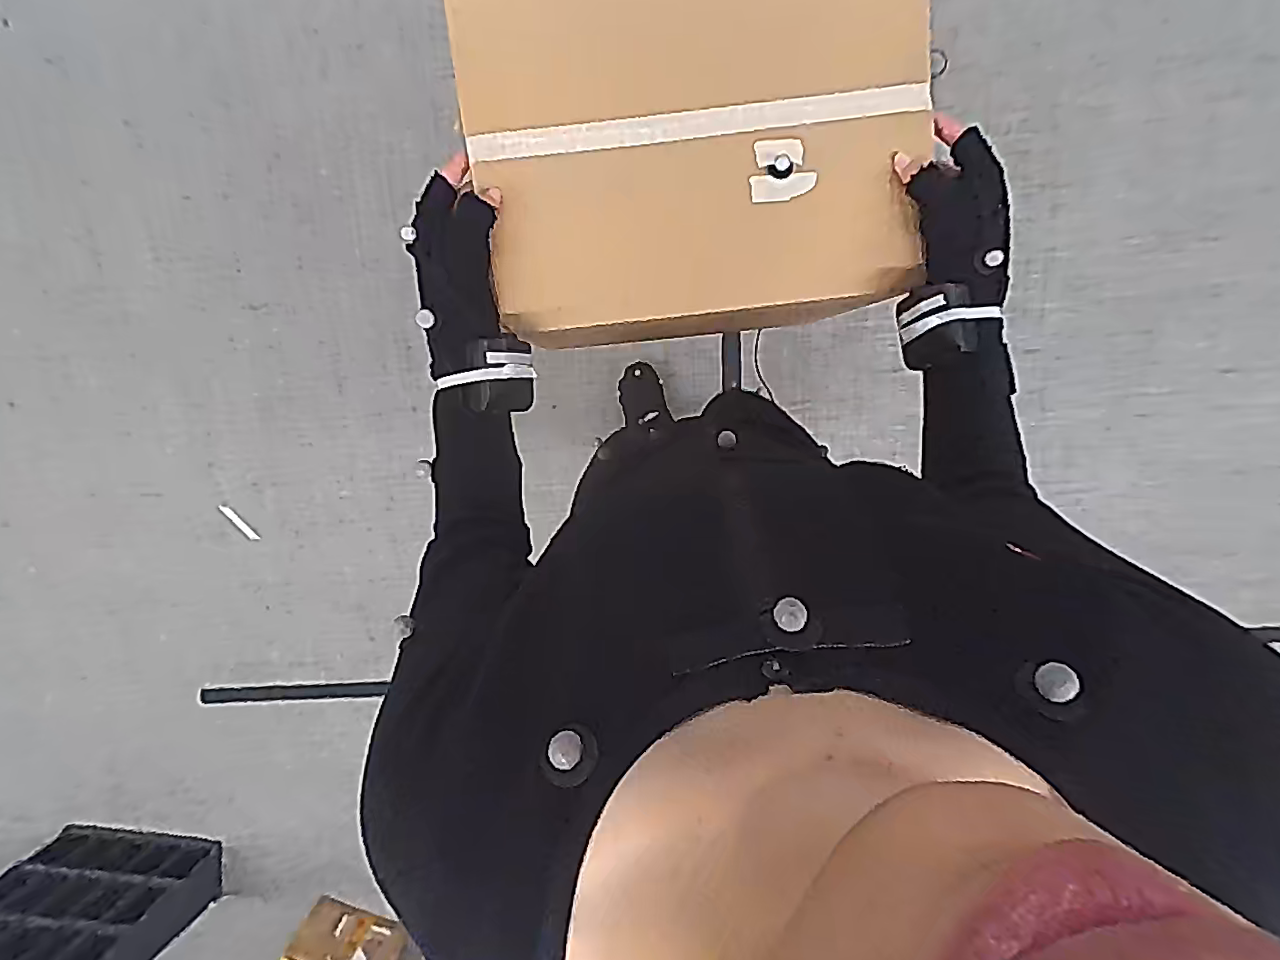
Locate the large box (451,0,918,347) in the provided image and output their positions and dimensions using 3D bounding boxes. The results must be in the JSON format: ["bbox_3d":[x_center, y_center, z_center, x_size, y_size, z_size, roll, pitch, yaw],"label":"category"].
[{"bbox_3d":[0.043,-0.345,0.630,0.408,0.320,0.320,-6,101,-1],"label":"large box"}]
